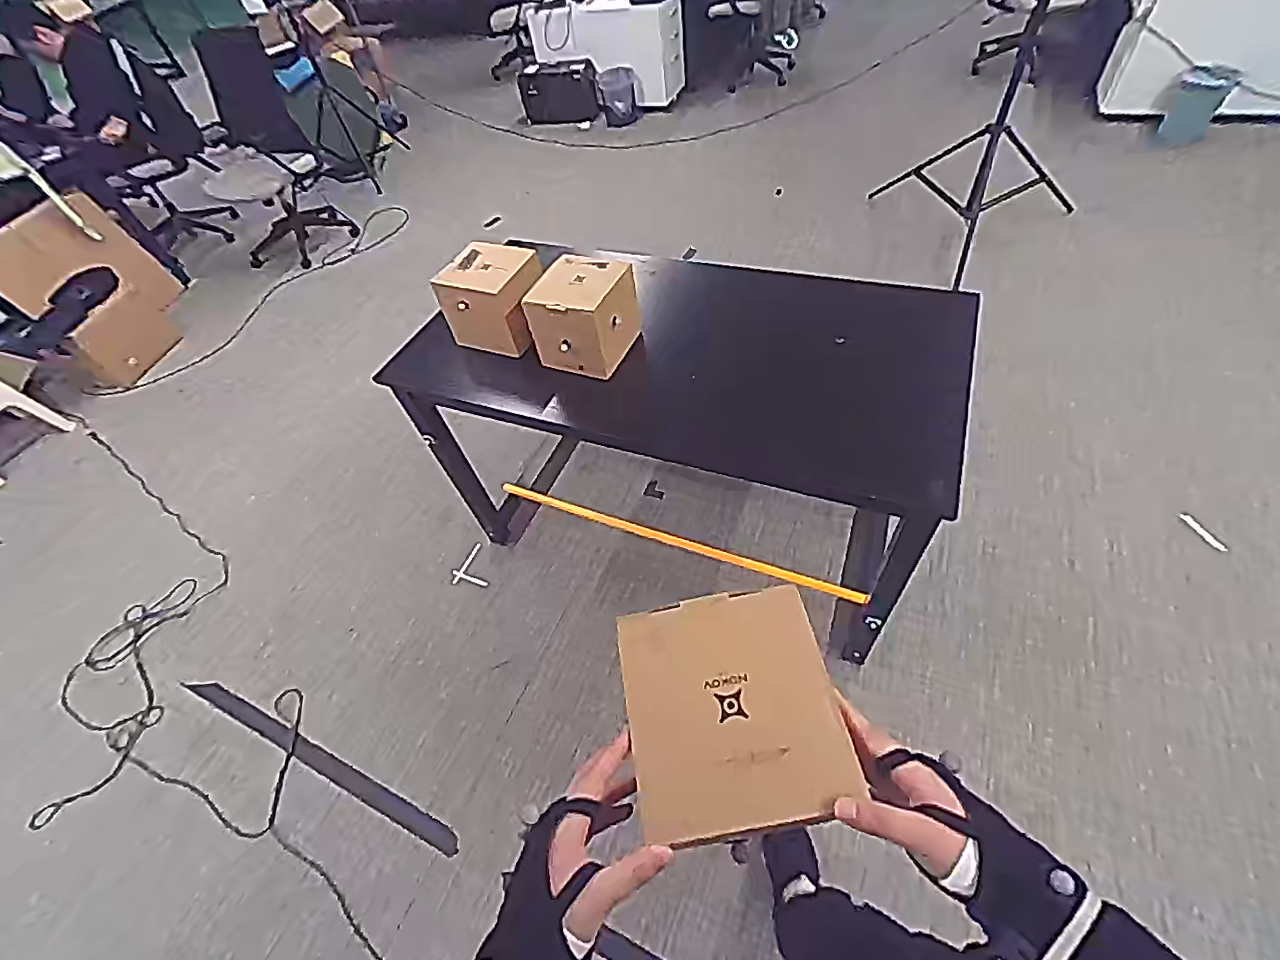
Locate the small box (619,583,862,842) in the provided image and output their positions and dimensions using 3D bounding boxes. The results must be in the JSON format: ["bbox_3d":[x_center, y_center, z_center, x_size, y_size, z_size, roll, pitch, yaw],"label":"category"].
[{"bbox_3d":[0.078,0.220,0.505,0.168,0.176,0.179,-10,55,0],"label":"small box"}]

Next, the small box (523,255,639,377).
[{"bbox_3d":[-0.113,-0.343,1.138,0.168,0.176,0.179,16,57,20],"label":"small box"}]

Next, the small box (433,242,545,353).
[{"bbox_3d":[-0.322,-0.408,1.218,0.179,0.176,0.168,16,57,19],"label":"small box"}]
